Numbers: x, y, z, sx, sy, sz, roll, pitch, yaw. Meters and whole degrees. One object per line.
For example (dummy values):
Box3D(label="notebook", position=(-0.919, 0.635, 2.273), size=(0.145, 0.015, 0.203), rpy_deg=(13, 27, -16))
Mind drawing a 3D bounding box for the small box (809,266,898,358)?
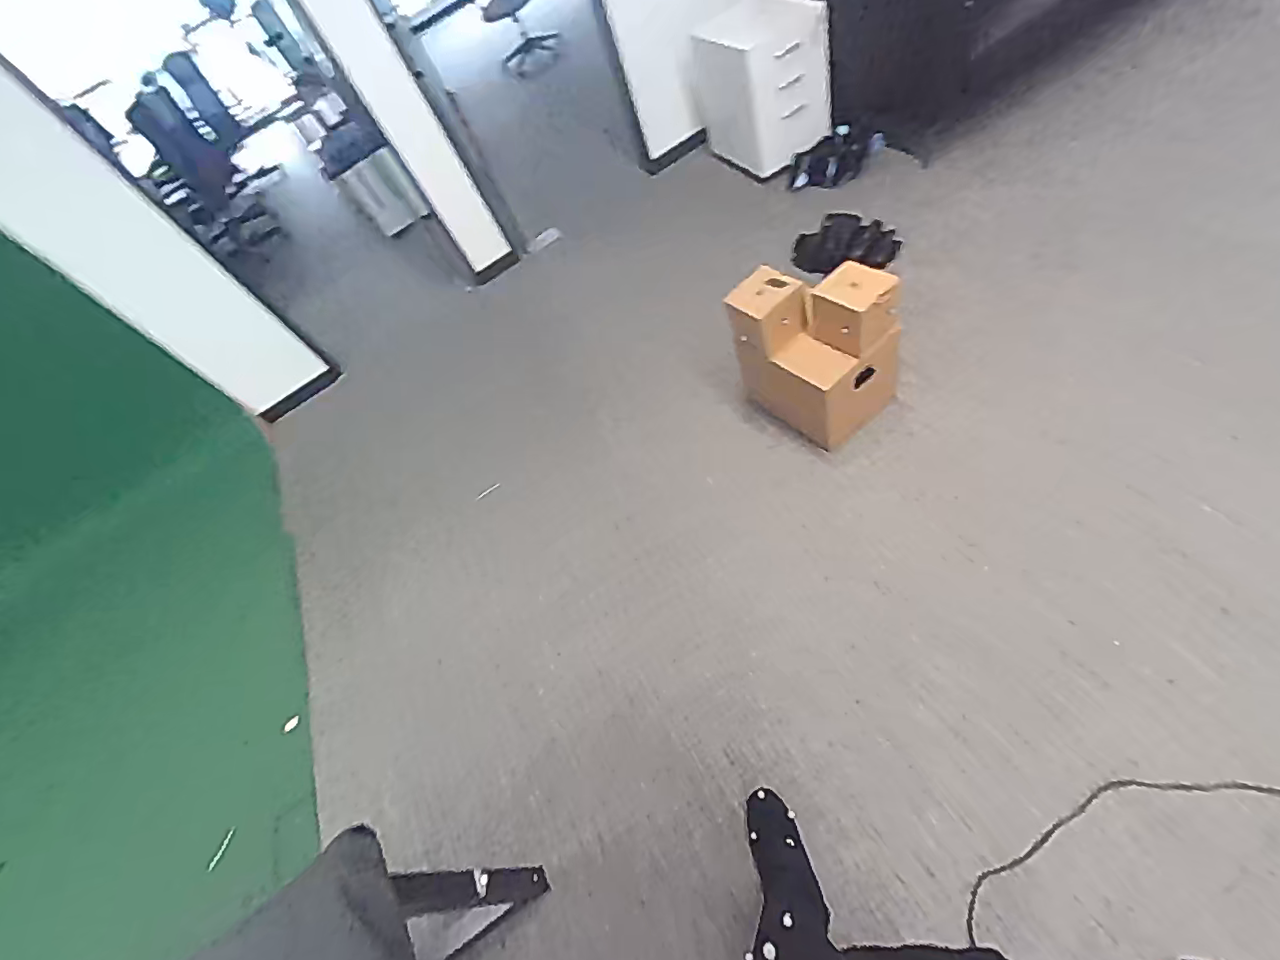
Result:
Box3D(label="small box", position=(0.616, -0.482, 1.565), size=(0.168, 0.176, 0.179), rpy_deg=(-41, 50, -12))

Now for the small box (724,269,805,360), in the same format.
Box3D(label="small box", position=(0.392, -0.510, 1.676), size=(0.179, 0.176, 0.168), rpy_deg=(-41, 52, -5))
